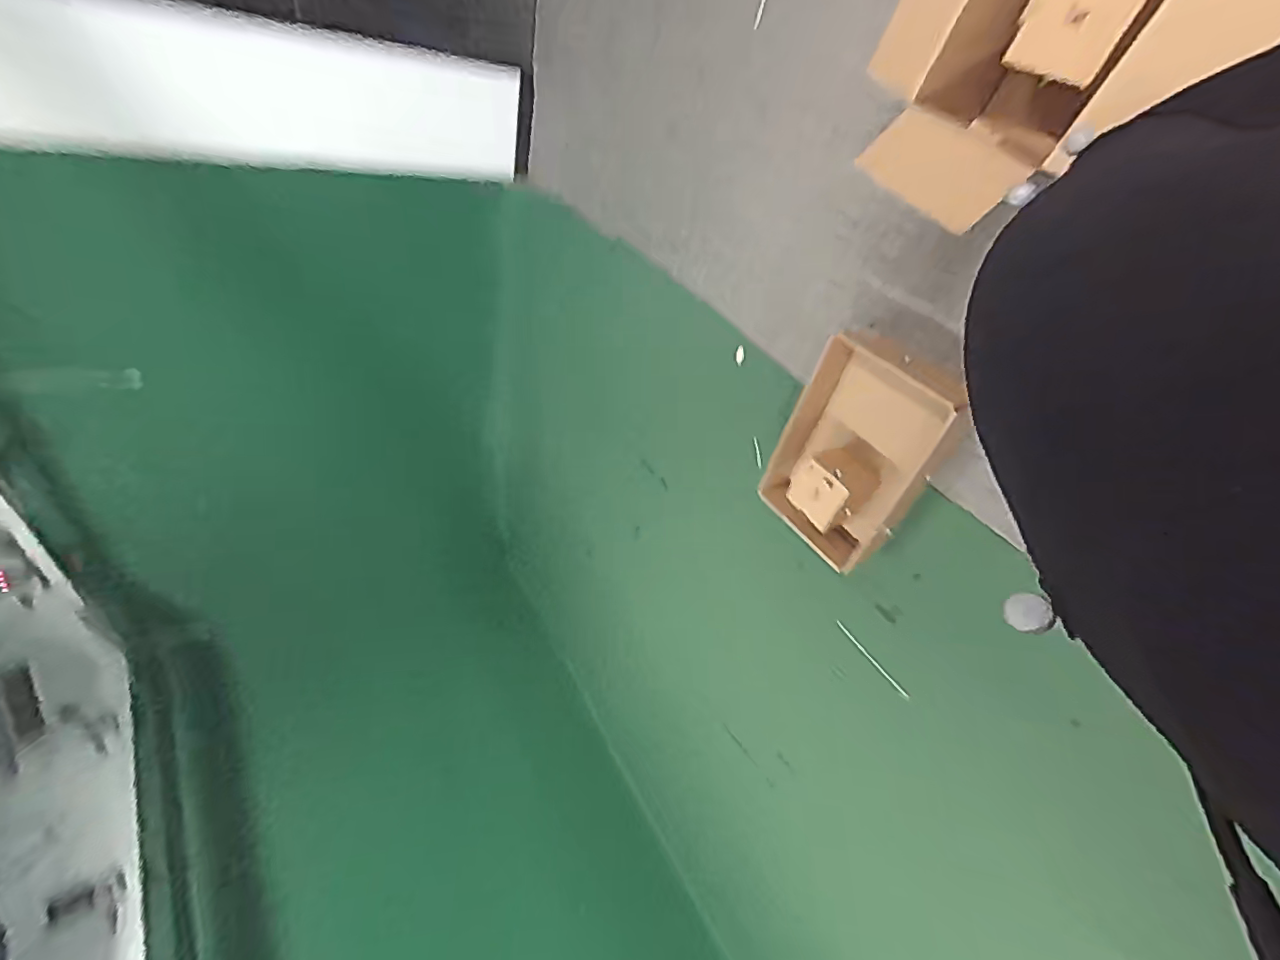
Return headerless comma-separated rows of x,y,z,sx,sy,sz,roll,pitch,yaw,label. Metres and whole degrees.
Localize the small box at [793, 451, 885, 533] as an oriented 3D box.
0.614,0.033,1.662,0.168,0.176,0.179,50,140,34,small box
